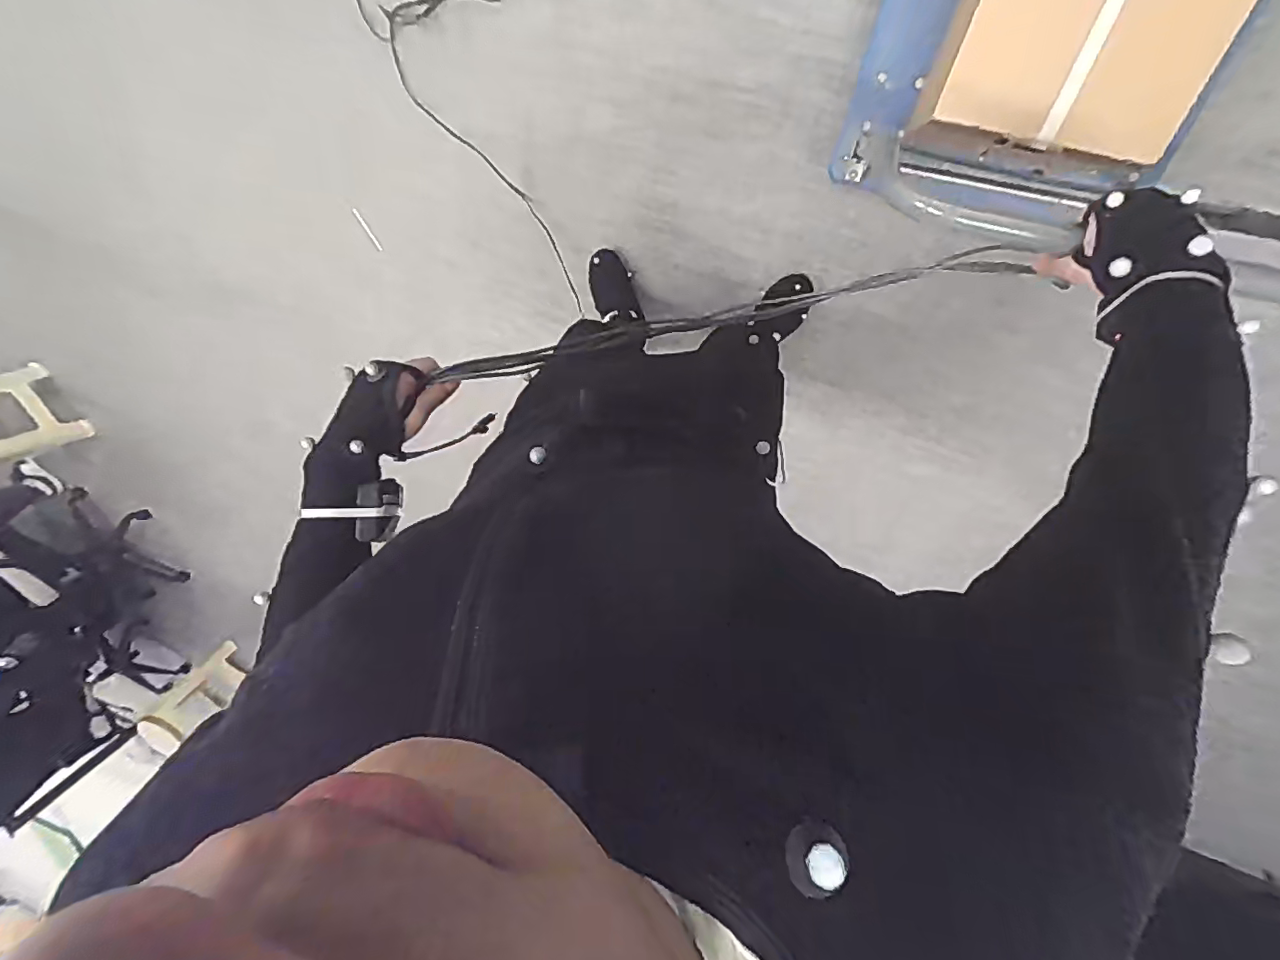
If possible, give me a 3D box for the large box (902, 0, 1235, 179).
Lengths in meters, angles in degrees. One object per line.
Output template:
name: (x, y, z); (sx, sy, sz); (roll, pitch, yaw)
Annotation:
large box: (0.657, -0.724, 0.834); (0.320, 0.320, 0.408); (19, 120, 7)
